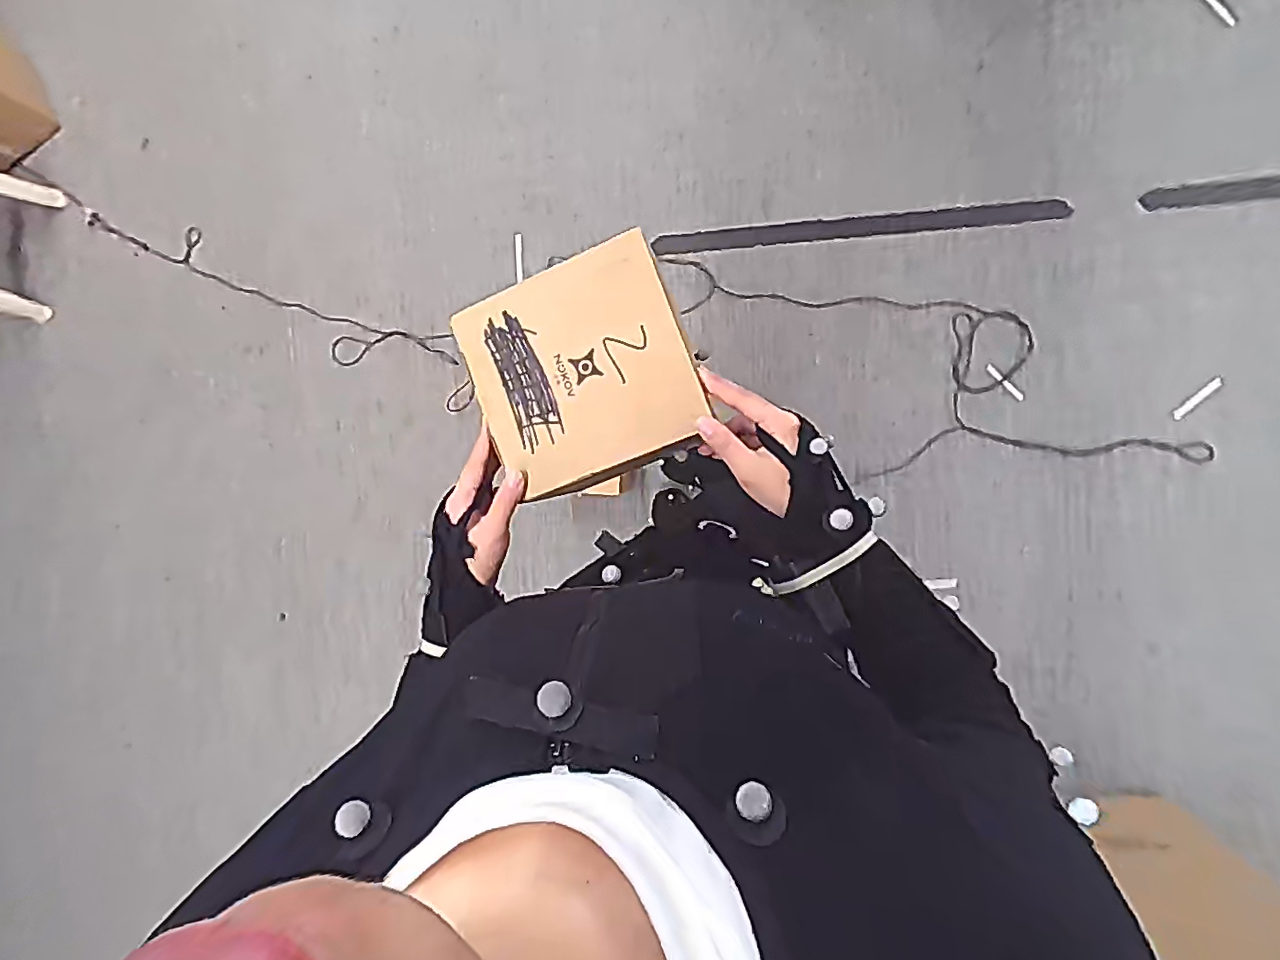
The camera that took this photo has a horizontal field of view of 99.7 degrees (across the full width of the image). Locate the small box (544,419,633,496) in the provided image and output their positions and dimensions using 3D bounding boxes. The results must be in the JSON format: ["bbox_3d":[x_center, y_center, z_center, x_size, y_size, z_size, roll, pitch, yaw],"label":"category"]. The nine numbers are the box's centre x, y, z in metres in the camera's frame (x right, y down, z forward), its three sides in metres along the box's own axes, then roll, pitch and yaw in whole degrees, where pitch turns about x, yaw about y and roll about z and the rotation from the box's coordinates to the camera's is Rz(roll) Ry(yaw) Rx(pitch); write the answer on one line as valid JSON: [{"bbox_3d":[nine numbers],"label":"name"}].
[{"bbox_3d":[-0.118,-0.053,1.299,0.179,0.176,0.168,4,93,6],"label":"small box"}]
